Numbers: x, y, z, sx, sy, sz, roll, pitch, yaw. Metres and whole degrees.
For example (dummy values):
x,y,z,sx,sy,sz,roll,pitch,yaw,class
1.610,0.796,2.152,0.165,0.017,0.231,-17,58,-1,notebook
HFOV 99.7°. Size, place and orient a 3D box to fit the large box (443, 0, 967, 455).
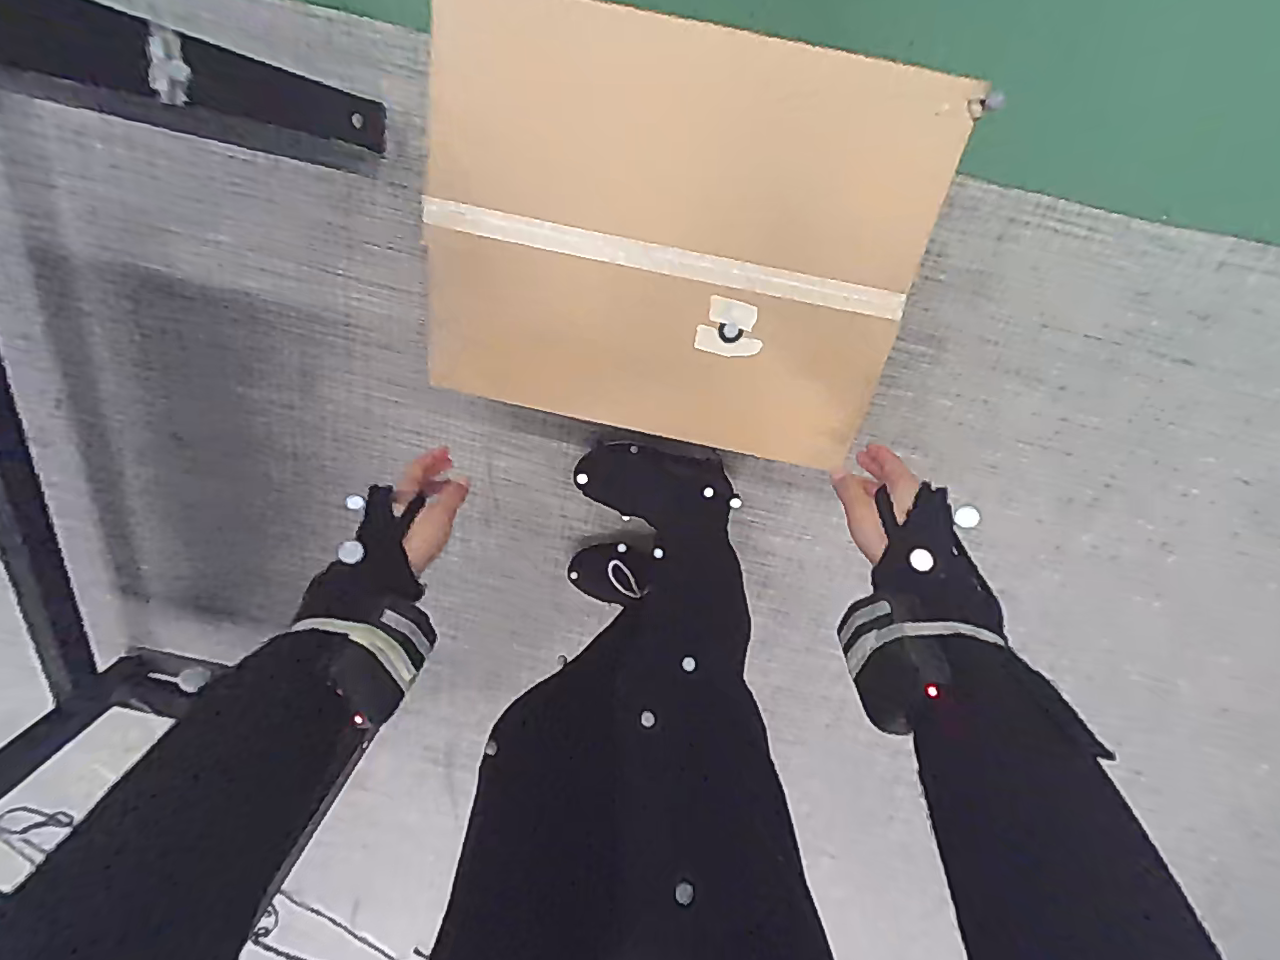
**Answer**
x,y,z,sx,sy,sz,roll,pitch,yaw,class
0.037,-0.254,0.600,0.408,0.320,0.320,11,115,0,large box
